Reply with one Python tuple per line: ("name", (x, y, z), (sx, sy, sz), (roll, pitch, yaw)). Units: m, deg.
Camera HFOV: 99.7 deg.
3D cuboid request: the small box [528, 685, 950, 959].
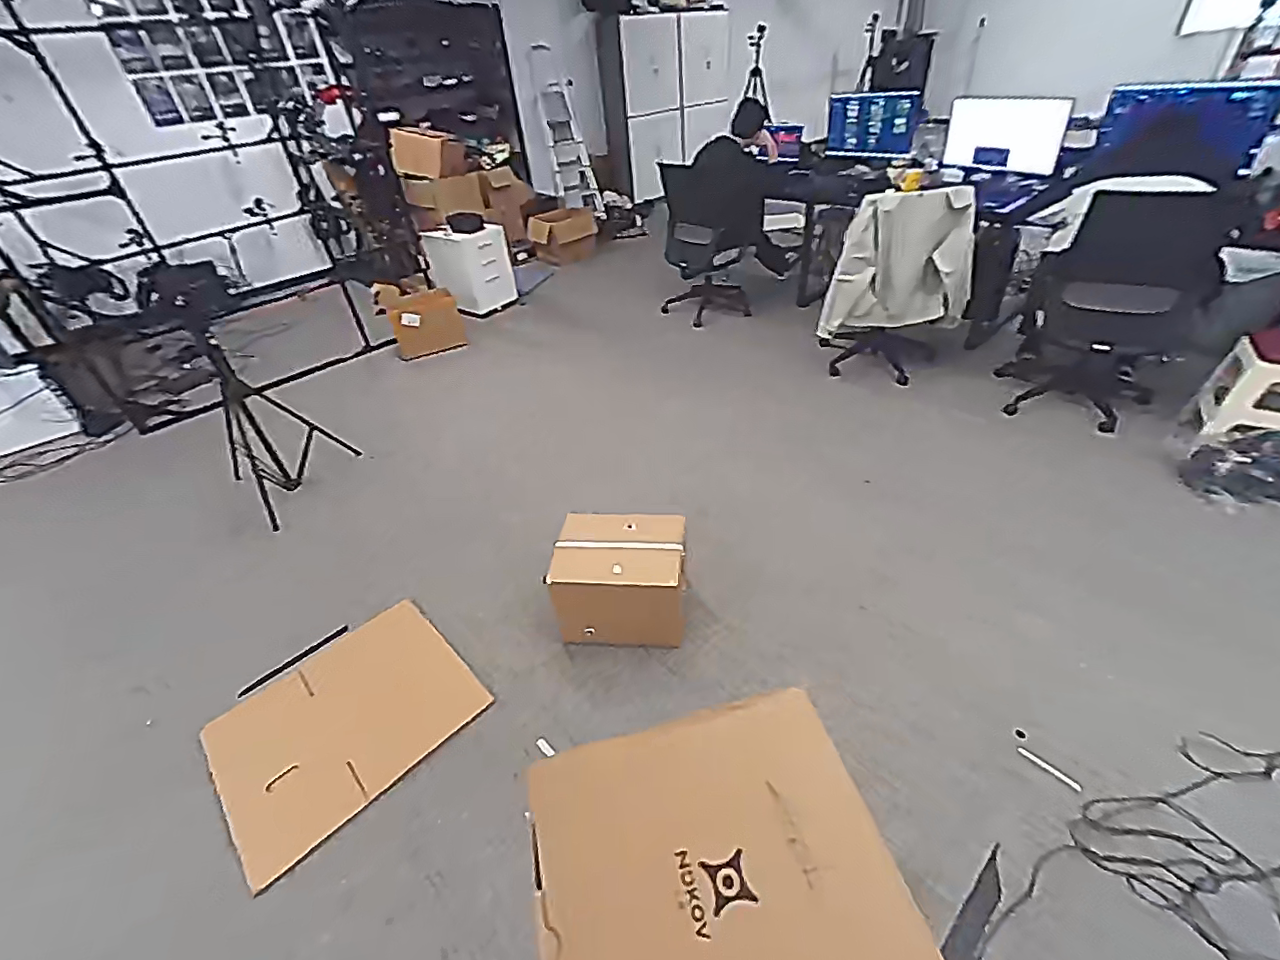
("small box", (0.042, 0.256, 0.319), (0.179, 0.176, 0.168), (-11, 45, -12))
